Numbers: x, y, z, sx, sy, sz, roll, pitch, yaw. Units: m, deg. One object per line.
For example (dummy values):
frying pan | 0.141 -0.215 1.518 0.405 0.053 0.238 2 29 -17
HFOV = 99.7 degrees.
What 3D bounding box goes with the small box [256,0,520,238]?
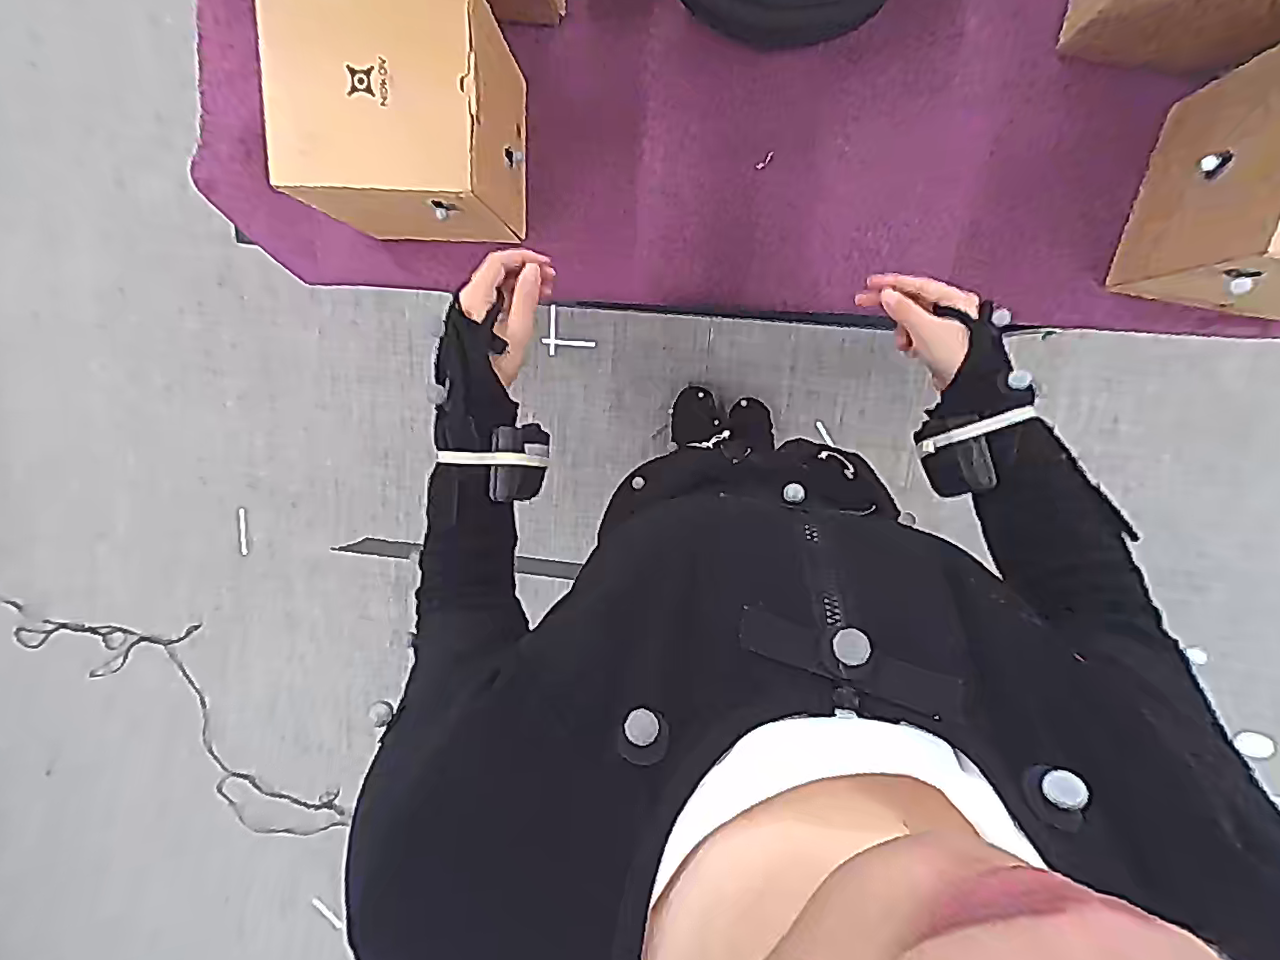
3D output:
small box | -0.225 -0.343 0.524 0.179 0.176 0.168 2 101 1
